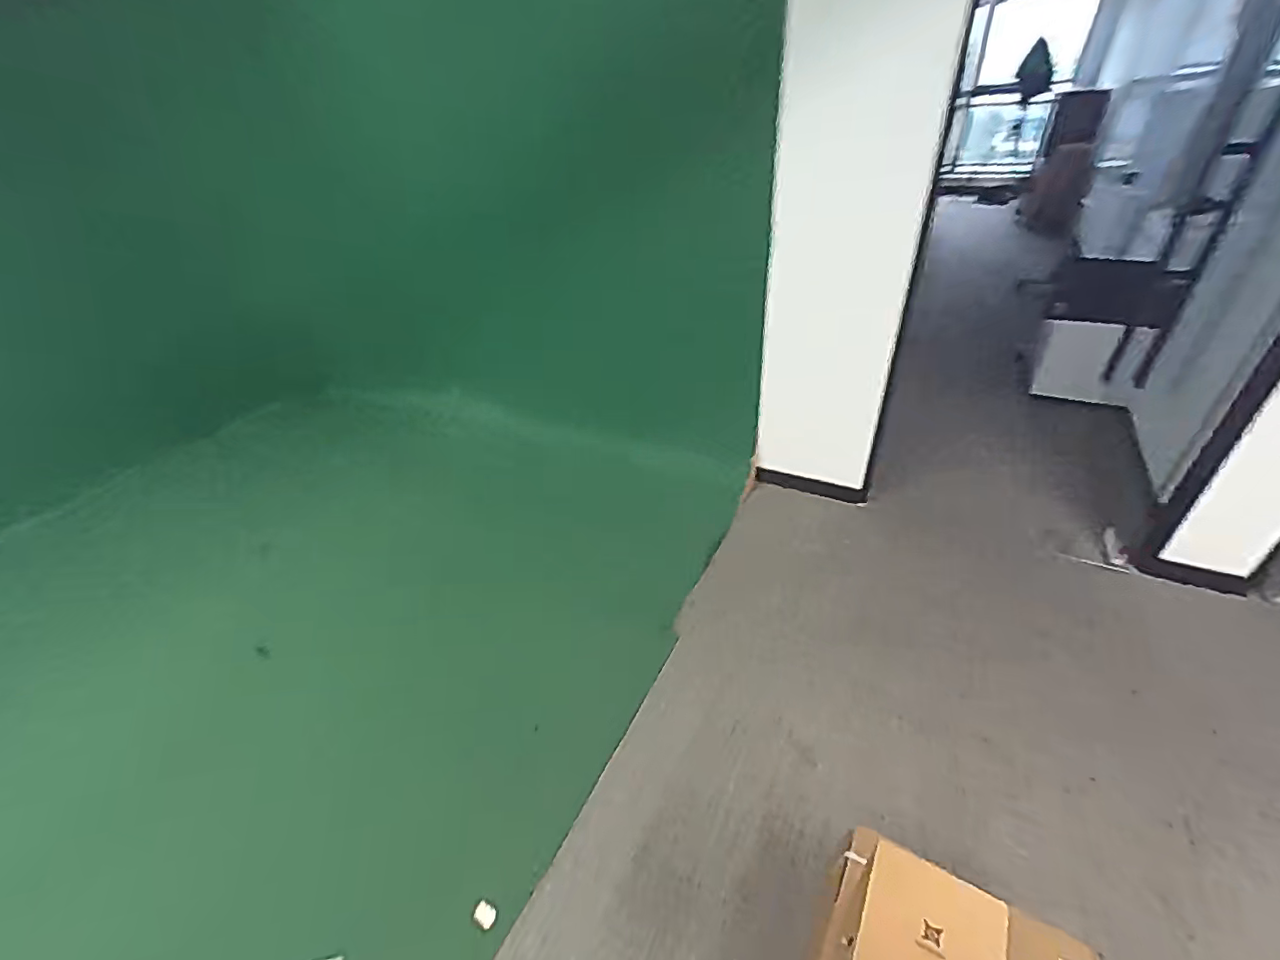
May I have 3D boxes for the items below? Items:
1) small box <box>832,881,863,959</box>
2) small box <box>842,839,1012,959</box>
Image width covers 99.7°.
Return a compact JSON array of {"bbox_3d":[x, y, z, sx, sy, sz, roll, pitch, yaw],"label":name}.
[{"bbox_3d":[0.384,0.780,0.827,0.168,0.176,0.179,18,40,28],"label":"small box"},{"bbox_3d":[0.378,0.648,0.733,0.168,0.176,0.179,17,41,27],"label":"small box"}]
